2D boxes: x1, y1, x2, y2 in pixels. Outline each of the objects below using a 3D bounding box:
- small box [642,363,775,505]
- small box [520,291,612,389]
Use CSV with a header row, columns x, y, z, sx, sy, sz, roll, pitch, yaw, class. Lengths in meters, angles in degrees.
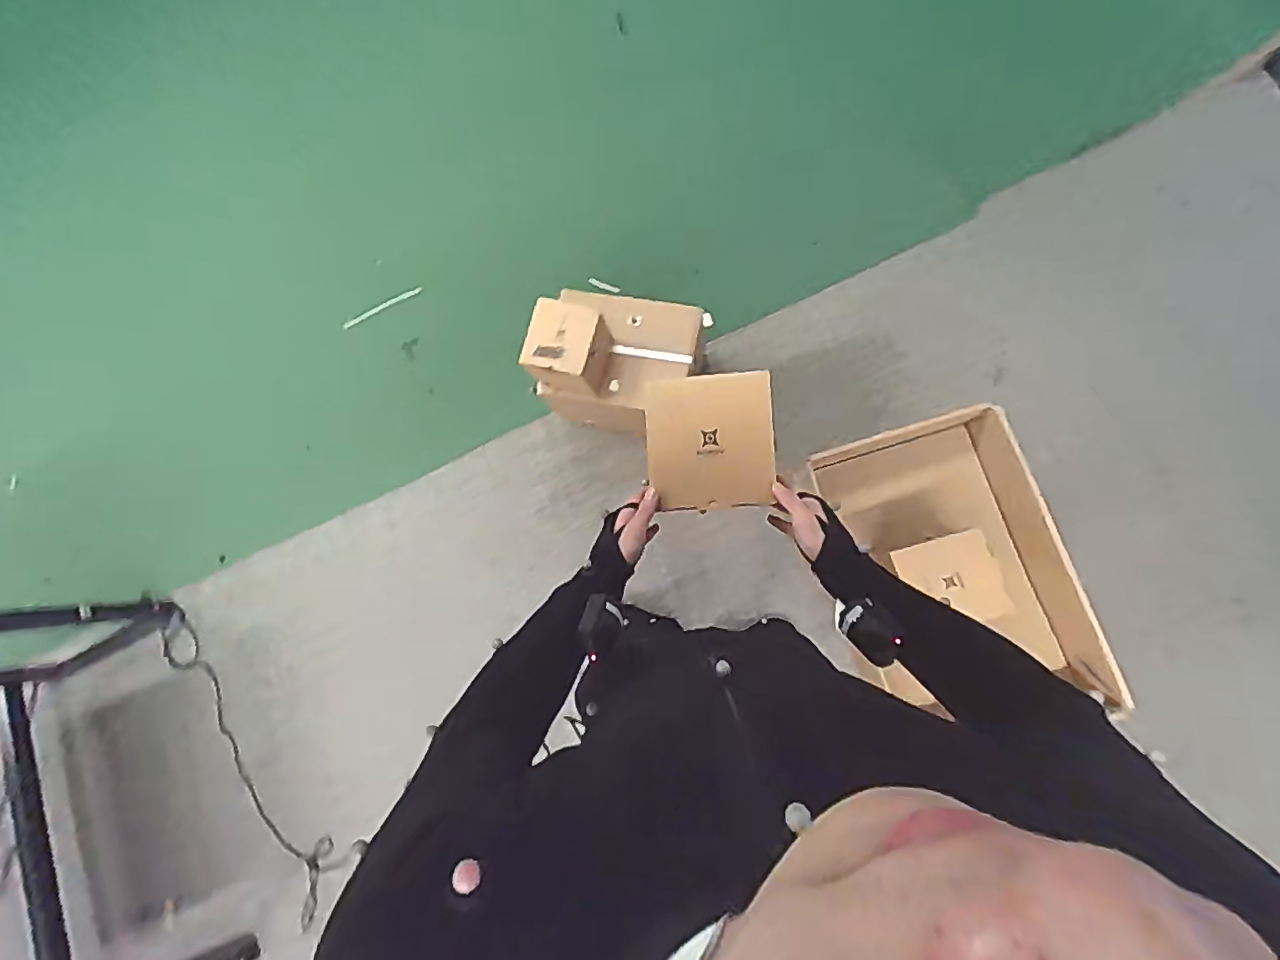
x,y,z,sx,sy,sz,roll,pitch,yaw,class
0.092,-0.058,0.773,0.168,0.176,0.179,-4,91,5,small box
-0.180,-0.350,1.382,0.168,0.176,0.179,15,84,9,small box
